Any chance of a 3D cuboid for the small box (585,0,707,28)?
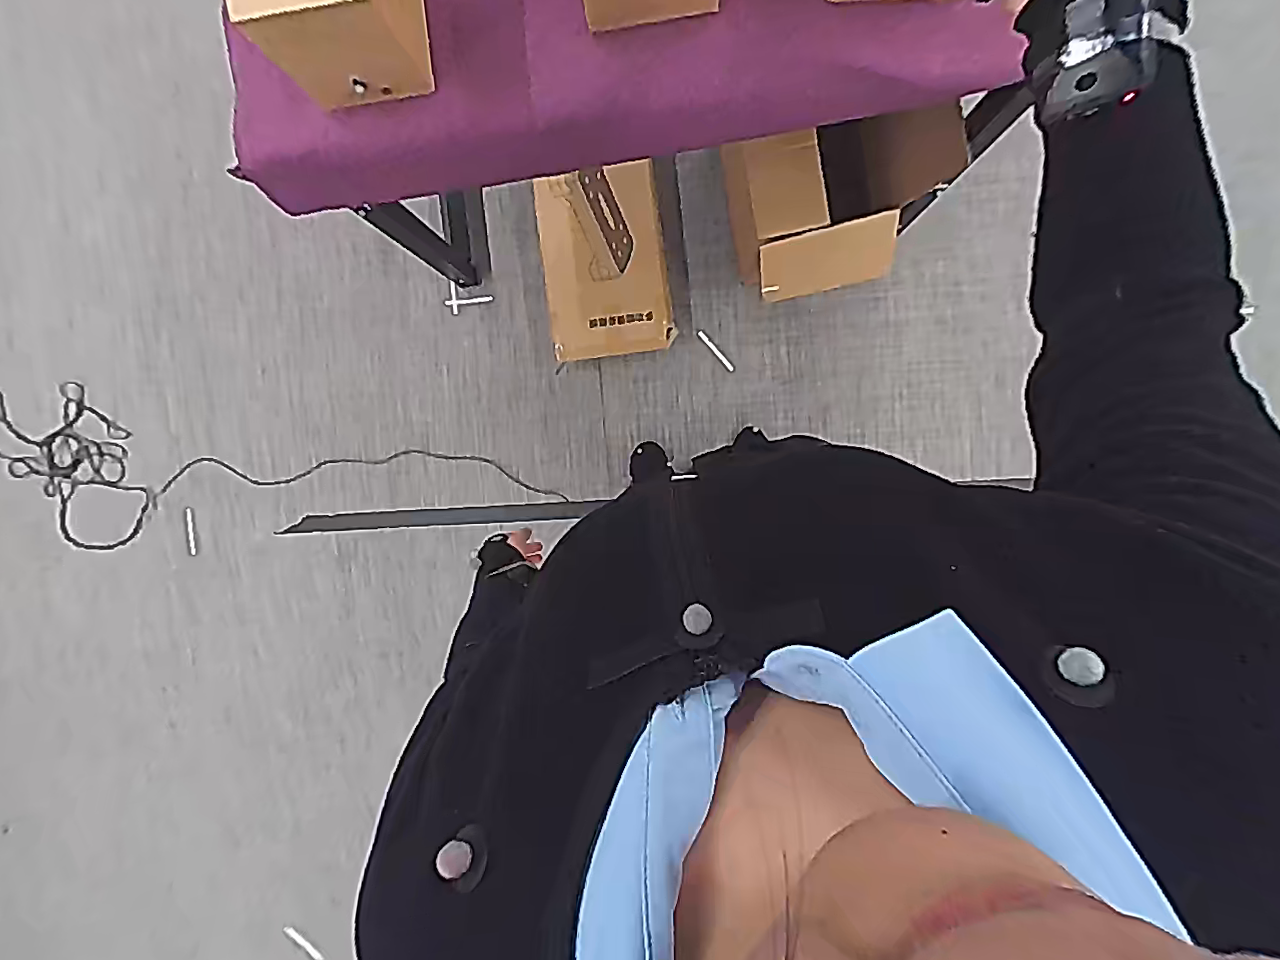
[{"bbox_3d":[0.006,-0.689,0.637,0.179,0.176,0.168,-6,91,5],"label":"small box"}]
